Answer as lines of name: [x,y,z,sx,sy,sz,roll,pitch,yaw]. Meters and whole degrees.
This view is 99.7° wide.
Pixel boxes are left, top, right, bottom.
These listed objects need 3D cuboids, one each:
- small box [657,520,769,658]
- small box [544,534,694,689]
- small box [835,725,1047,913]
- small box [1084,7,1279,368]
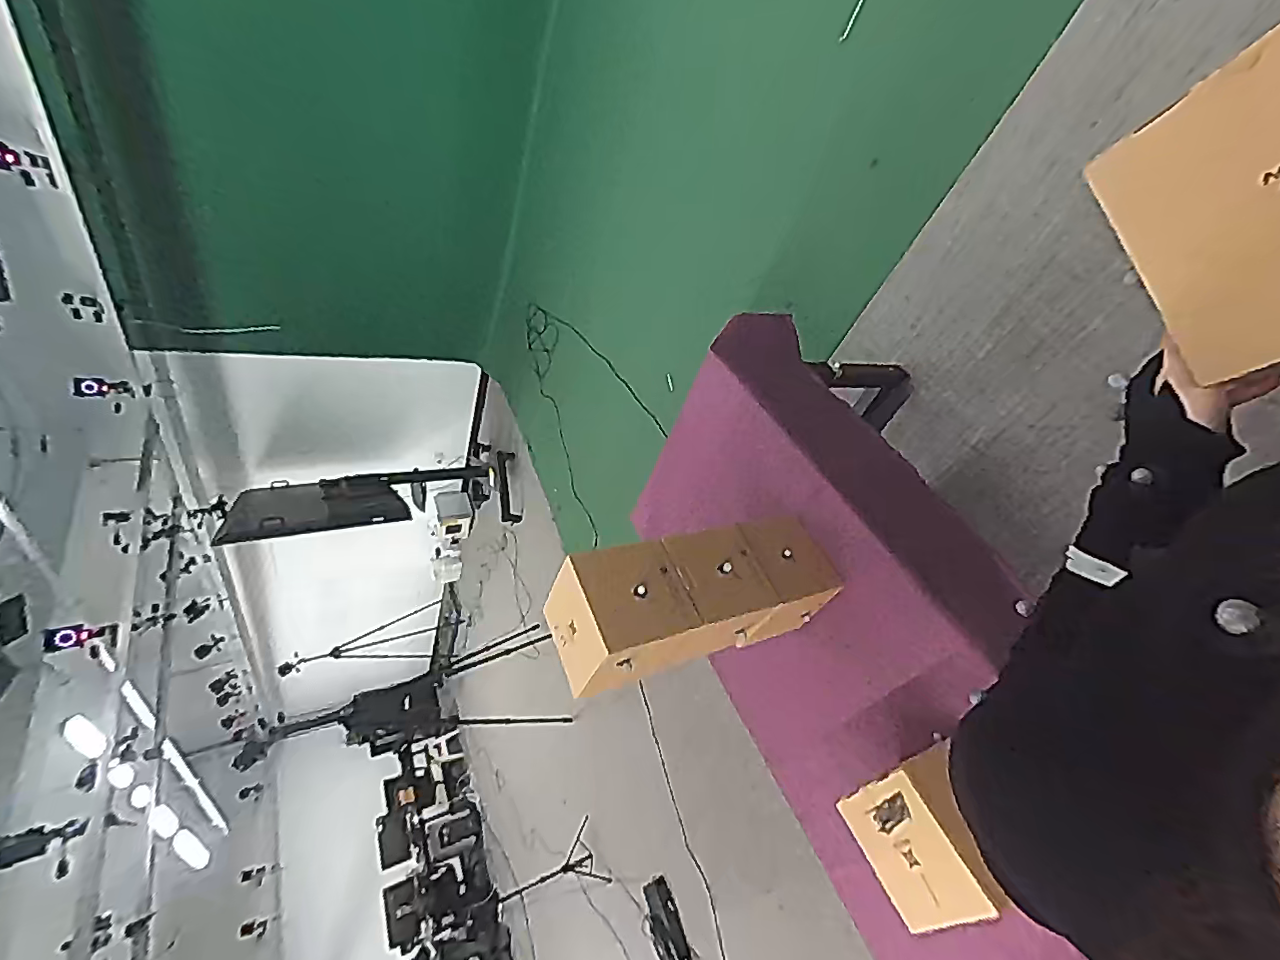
small box: [0.105,0.189,0.965,0.168,0.176,0.179,63,143,29]
small box: [-0.034,0.206,0.877,0.168,0.176,0.179,62,143,30]
small box: [0.436,0.486,0.797,0.179,0.176,0.168,60,142,32]
small box: [0.440,-0.188,0.337,0.168,0.176,0.179,-35,68,56]
